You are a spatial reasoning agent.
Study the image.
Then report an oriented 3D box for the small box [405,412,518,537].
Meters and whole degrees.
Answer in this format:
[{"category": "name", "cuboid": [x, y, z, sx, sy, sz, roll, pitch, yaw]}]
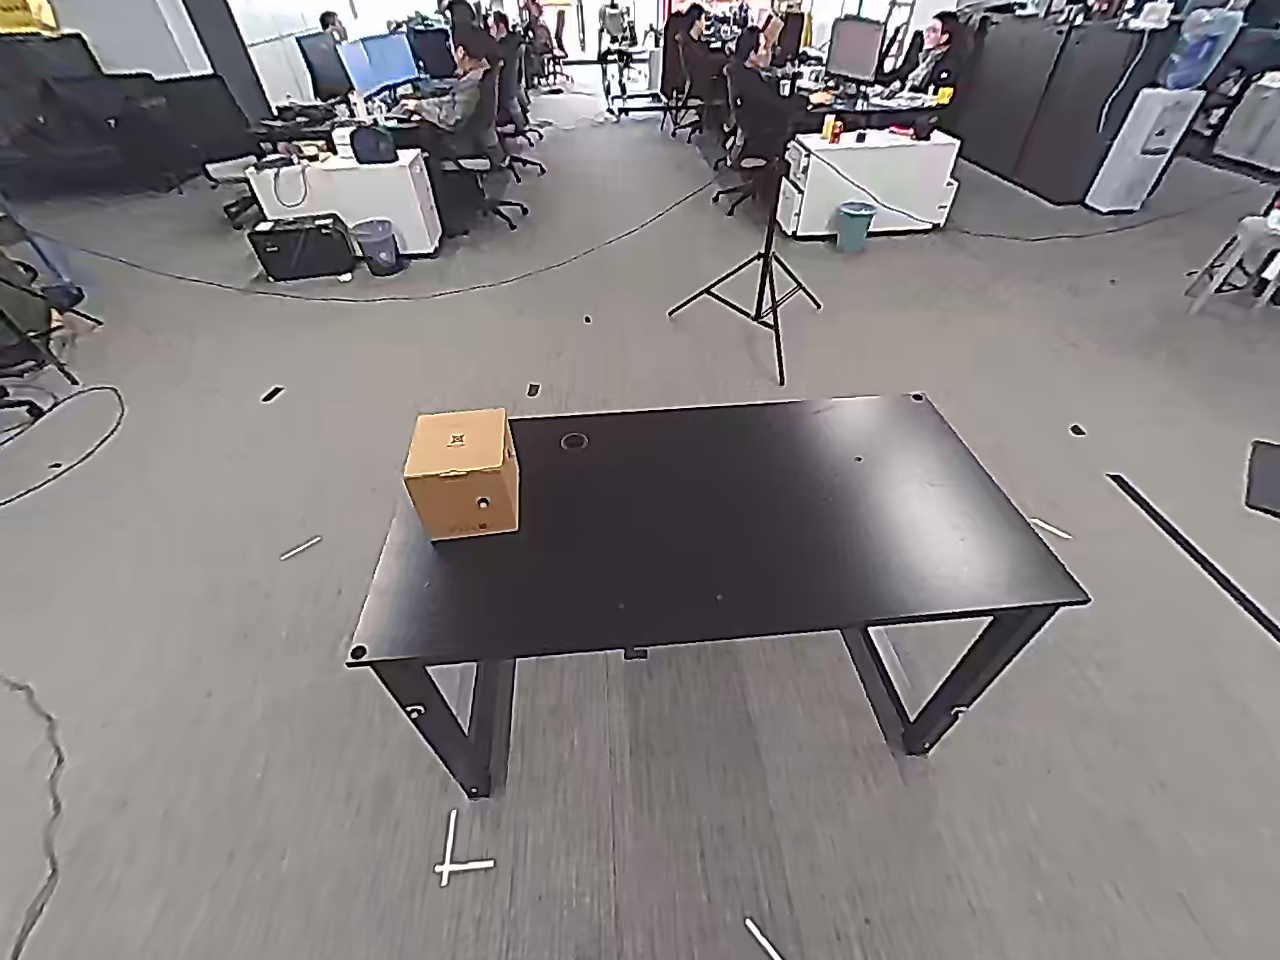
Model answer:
[{"category": "small box", "cuboid": [-0.329, -0.005, 1.032, 0.168, 0.176, 0.179, -6, 43, -7]}]
